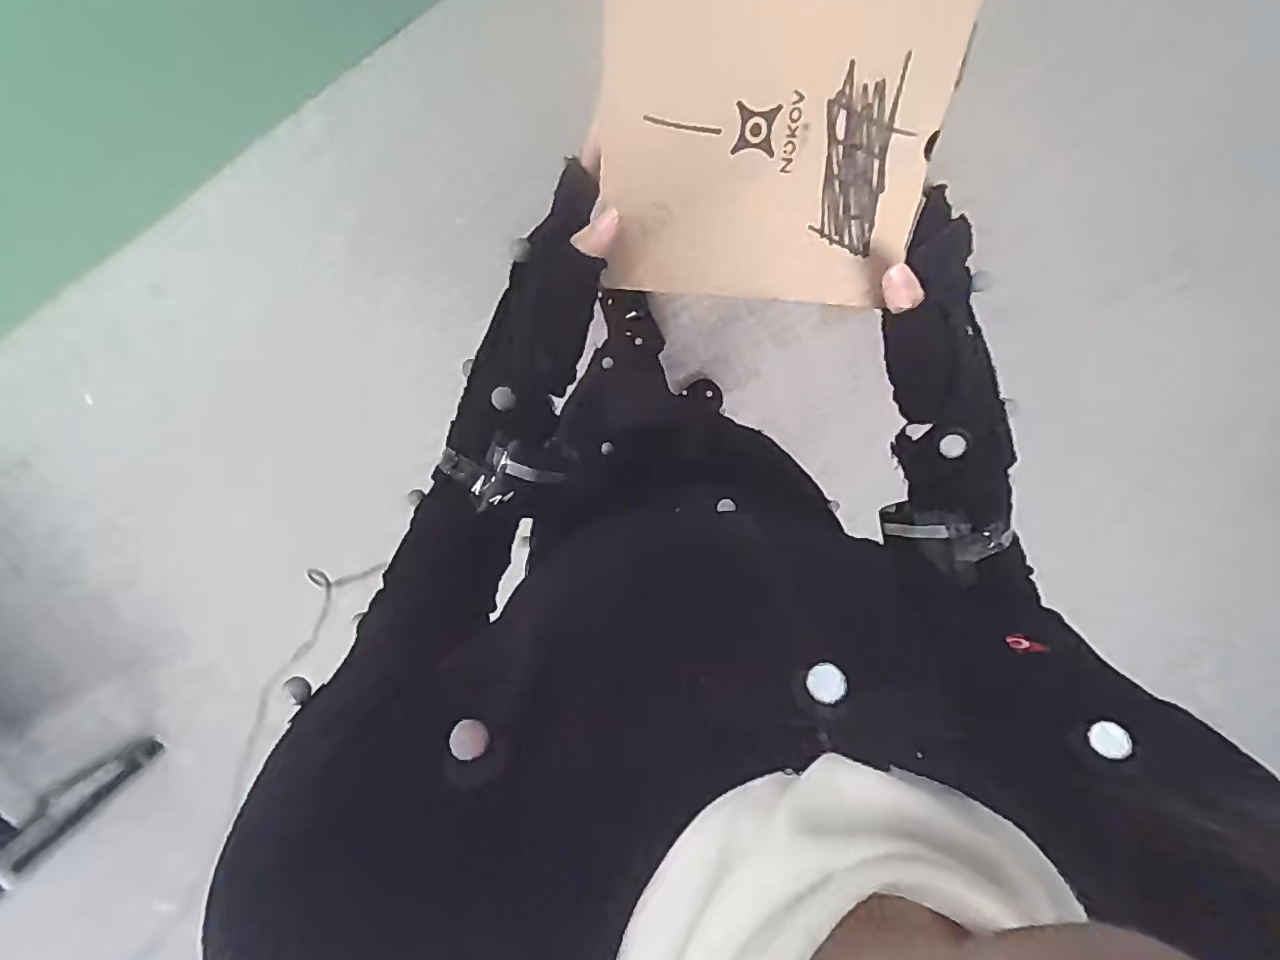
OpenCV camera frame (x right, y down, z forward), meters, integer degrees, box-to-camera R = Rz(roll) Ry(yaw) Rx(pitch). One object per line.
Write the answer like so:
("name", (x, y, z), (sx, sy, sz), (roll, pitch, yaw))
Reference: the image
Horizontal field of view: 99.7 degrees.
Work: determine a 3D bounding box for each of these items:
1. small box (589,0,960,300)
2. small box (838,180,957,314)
("small box", (0.061, -0.221, 0.347), (0.179, 0.176, 0.168), (-1, 122, 0))
("small box", (0.468, -0.440, 1.046), (0.168, 0.176, 0.179), (-25, 105, 8))
